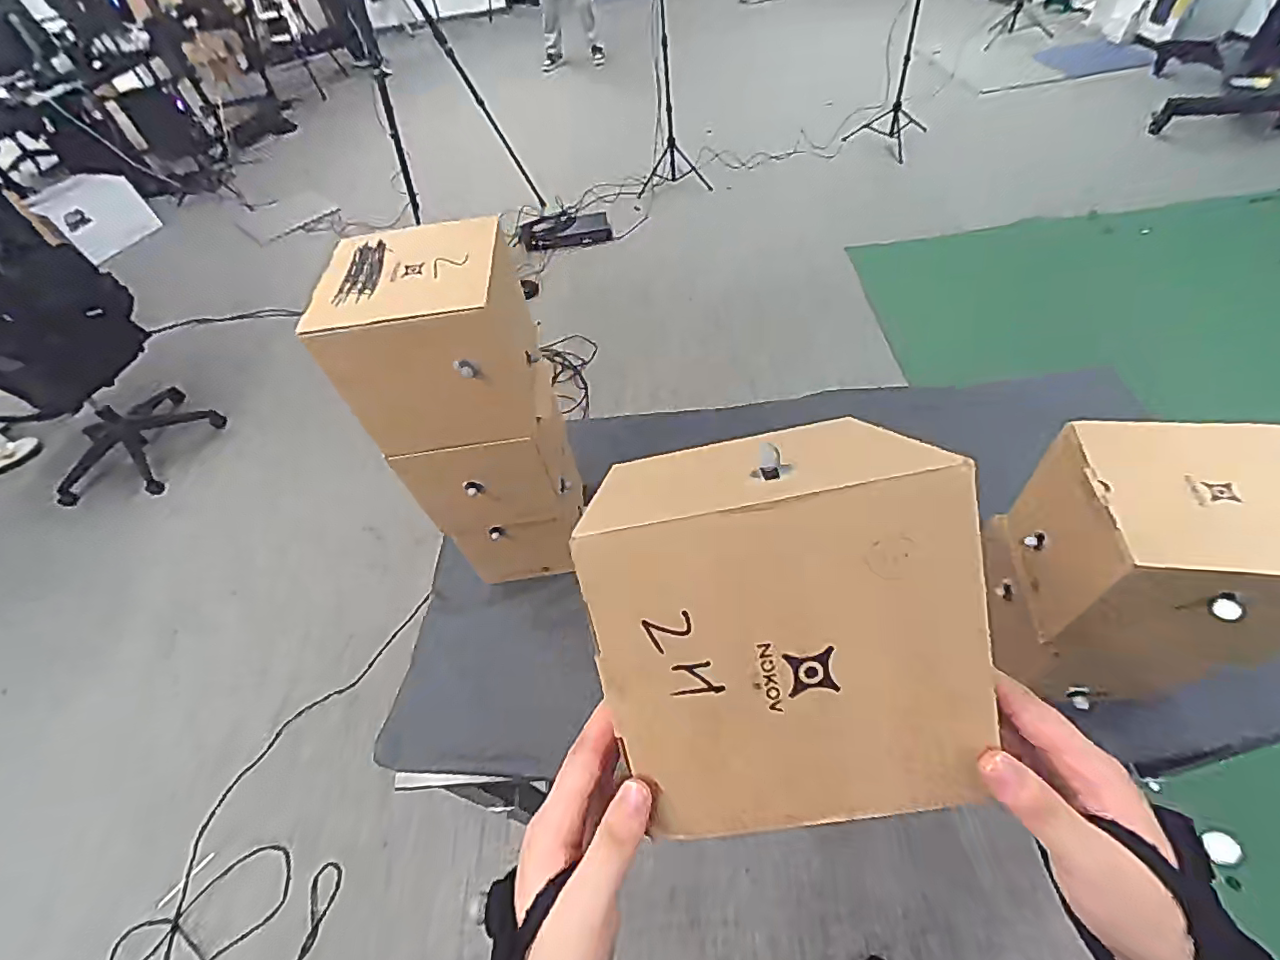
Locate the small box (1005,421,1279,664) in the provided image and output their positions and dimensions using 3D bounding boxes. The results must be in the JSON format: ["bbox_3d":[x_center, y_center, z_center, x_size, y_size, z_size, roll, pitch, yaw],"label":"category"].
[{"bbox_3d":[0.491,0.062,0.517,0.179,0.176,0.168,2,51,13],"label":"small box"}]

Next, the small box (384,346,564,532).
[{"bbox_3d":[-0.202,-0.050,0.718,0.179,0.176,0.168,-9,52,3],"label":"small box"}]

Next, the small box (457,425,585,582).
[{"bbox_3d":[-0.184,0.039,0.857,0.168,0.176,0.179,-9,51,2],"label":"small box"}]

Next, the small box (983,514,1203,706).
[{"bbox_3d":[0.512,0.154,0.650,0.168,0.176,0.179,-6,50,6],"label":"small box"}]

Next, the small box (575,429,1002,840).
[{"bbox_3d":[0.076,0.071,0.325,0.179,0.168,0.176,-11,11,8],"label":"small box"}]
